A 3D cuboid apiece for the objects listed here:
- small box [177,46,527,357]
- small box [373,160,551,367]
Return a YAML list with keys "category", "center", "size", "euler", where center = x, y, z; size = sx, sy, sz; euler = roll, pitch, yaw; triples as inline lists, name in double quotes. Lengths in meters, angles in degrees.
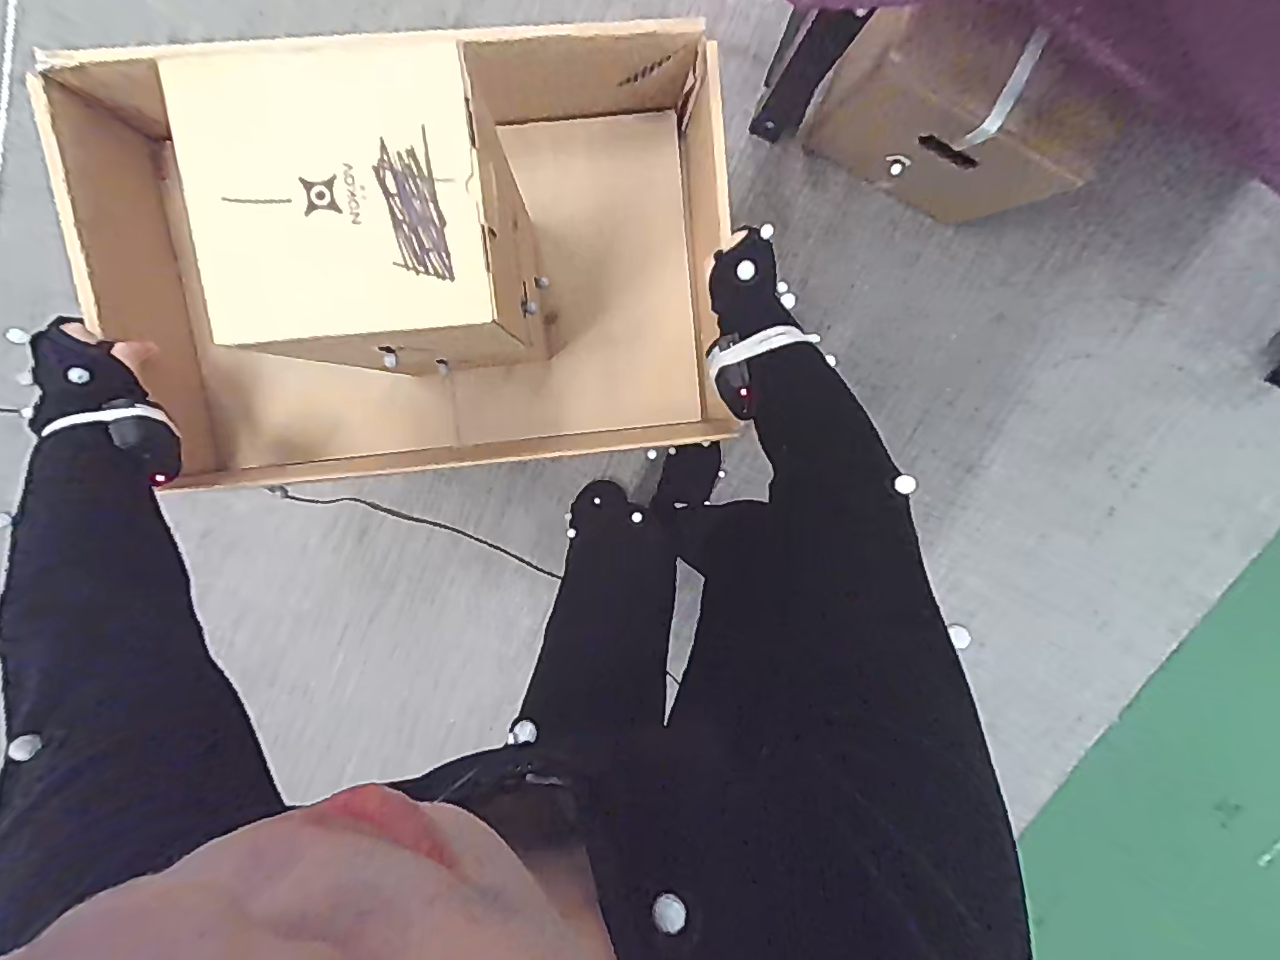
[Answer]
- category: "small box"
  center: [-0.188, -0.189, 0.416]
  size: [0.179, 0.176, 0.168]
  euler: [-5, 98, -2]
- category: "small box"
  center: [-0.199, -0.215, 0.577]
  size: [0.179, 0.176, 0.168]
  euler: [-7, 99, -3]
